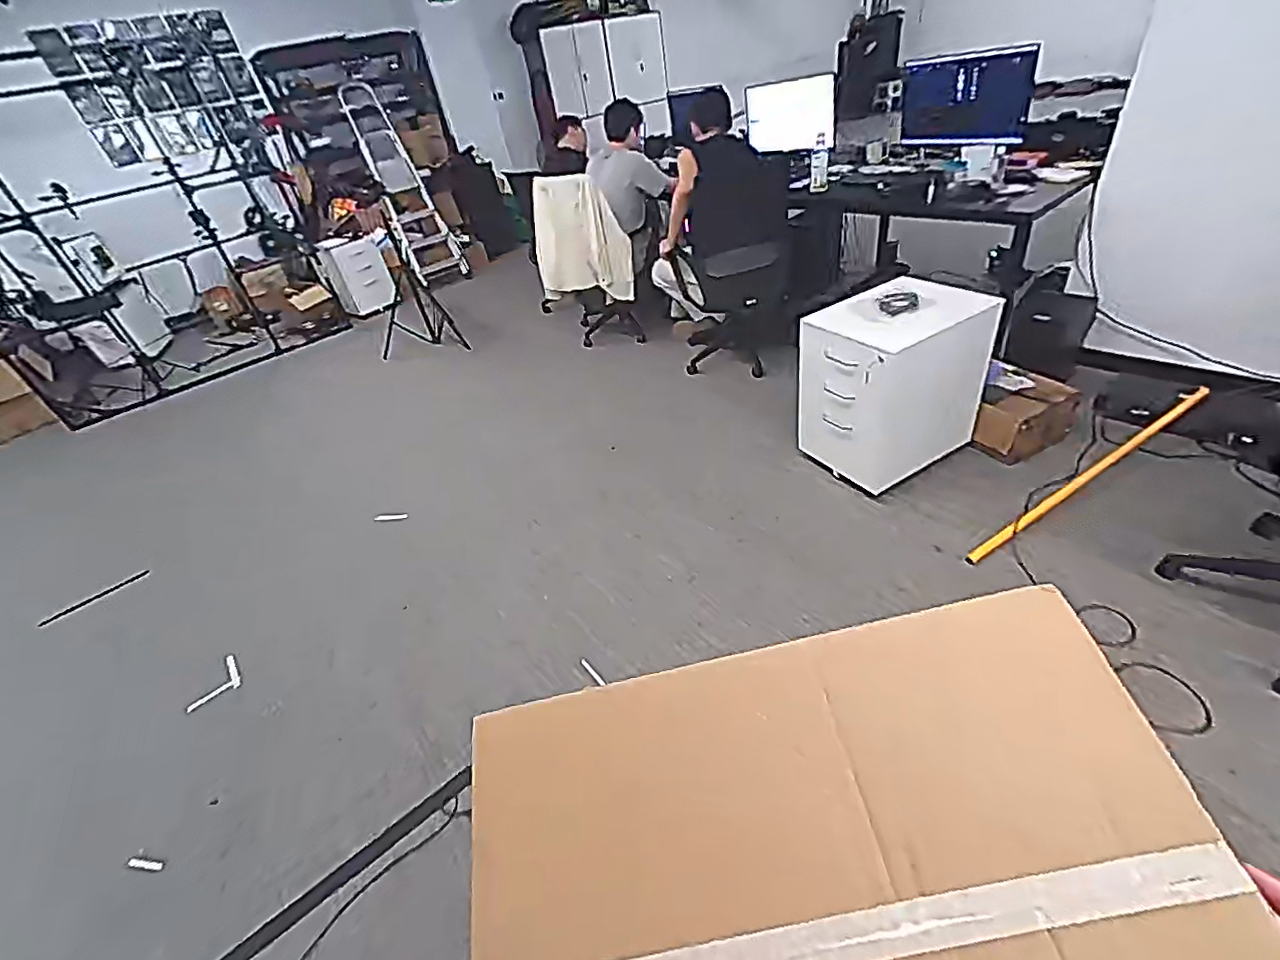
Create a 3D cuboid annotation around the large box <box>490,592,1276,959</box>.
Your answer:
[{"bbox_3d":[0.136,0.329,0.418,0.408,0.320,0.320,-15,57,4],"label":"large box"}]
